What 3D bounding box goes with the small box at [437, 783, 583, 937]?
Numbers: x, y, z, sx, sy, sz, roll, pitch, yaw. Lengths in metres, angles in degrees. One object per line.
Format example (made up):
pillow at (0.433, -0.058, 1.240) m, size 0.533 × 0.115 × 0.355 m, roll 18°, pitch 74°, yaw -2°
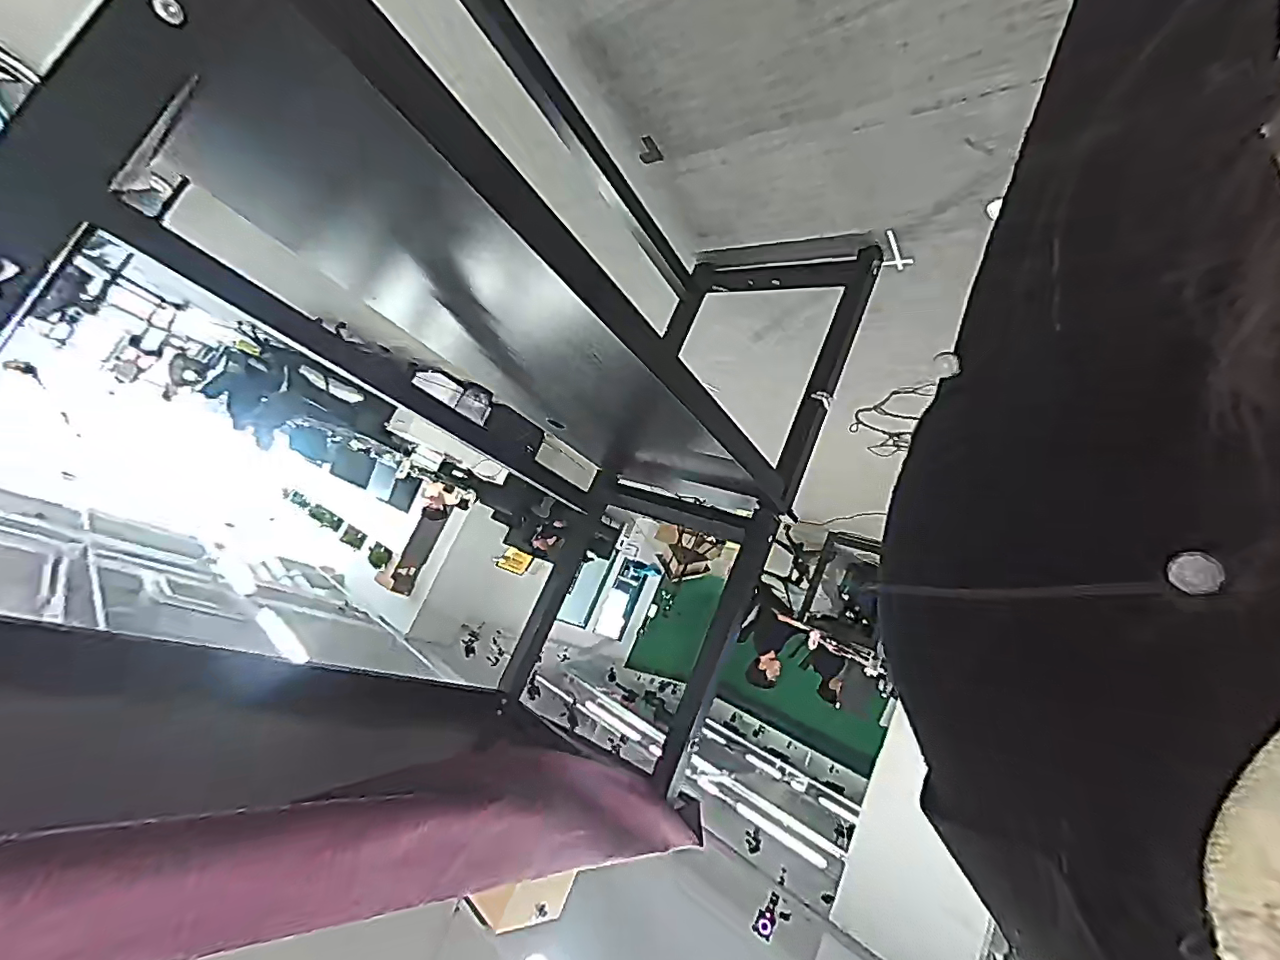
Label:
small box at (-0.240, 0.698, 1.021) m, size 0.179 × 0.176 × 0.168 m, roll 15°, pitch 166°, yaw 41°
